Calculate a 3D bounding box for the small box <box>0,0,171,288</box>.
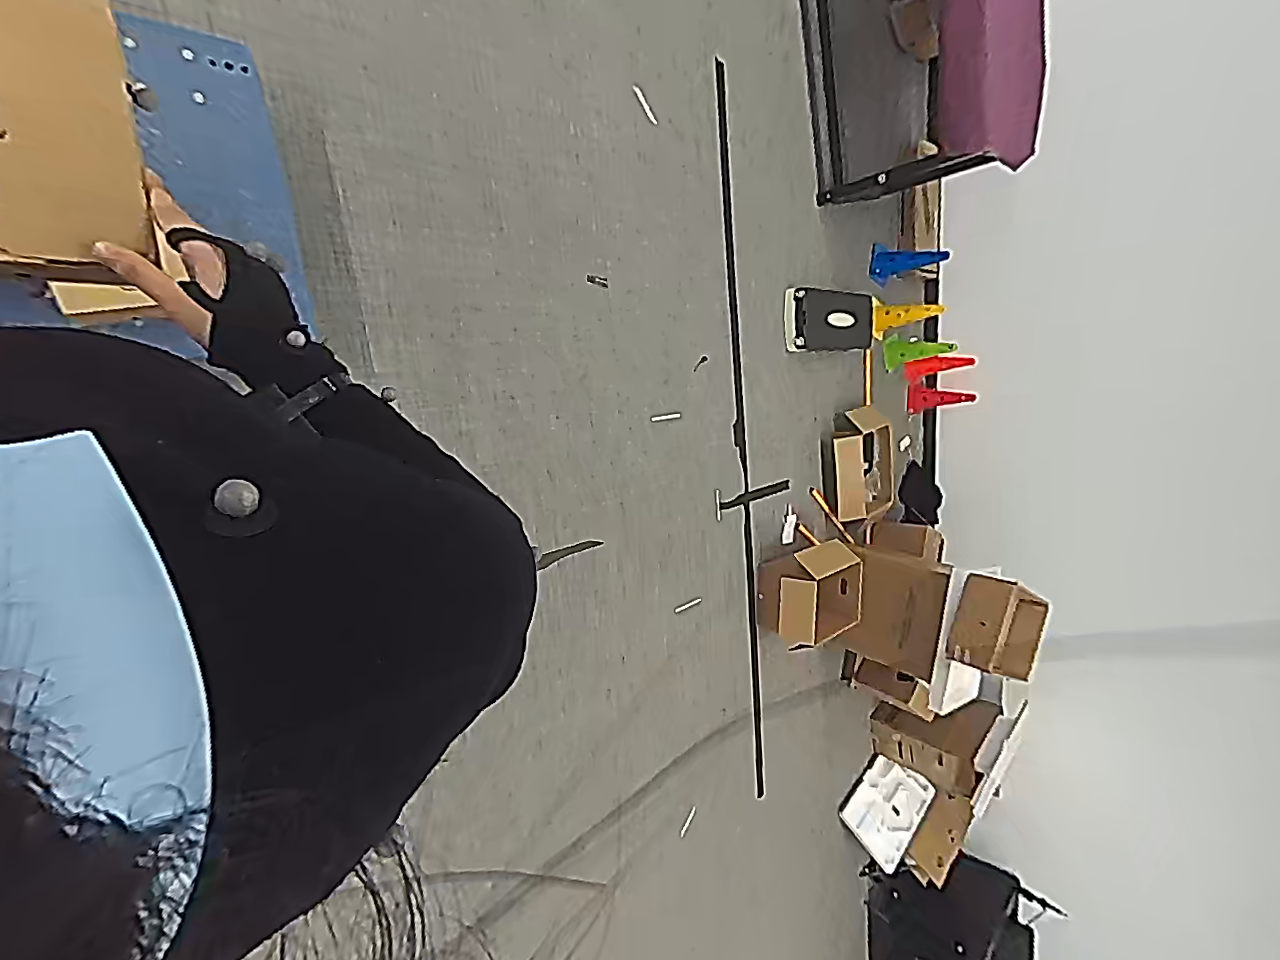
[{"bbox_3d":[-0.465,-0.245,0.395,0.168,0.176,0.179,-10,107,-39],"label":"small box"}]
